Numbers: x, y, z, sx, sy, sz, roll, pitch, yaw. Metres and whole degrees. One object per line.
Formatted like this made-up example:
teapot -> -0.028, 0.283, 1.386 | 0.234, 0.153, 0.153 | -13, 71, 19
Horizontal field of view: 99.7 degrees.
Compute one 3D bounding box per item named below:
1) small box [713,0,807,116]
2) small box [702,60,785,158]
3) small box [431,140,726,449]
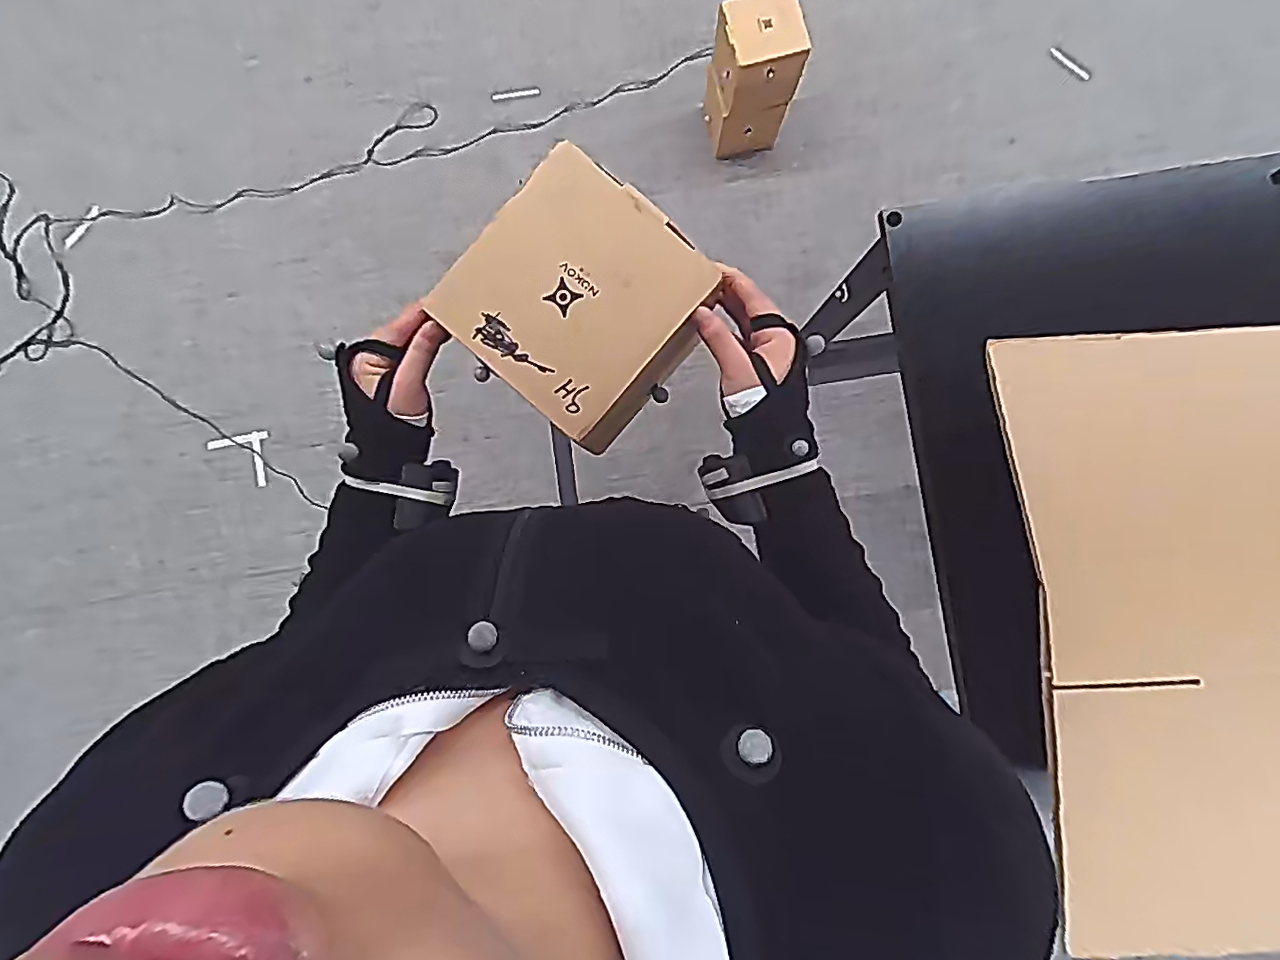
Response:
small box -> 0.284, -1.041, 1.329 | 0.179, 0.176, 0.168 | -15, 87, -2
small box -> 0.279, -1.029, 1.492 | 0.179, 0.176, 0.168 | -12, 86, 0
small box -> -0.048, -0.149, 0.499 | 0.168, 0.176, 0.179 | 41, 89, 3
